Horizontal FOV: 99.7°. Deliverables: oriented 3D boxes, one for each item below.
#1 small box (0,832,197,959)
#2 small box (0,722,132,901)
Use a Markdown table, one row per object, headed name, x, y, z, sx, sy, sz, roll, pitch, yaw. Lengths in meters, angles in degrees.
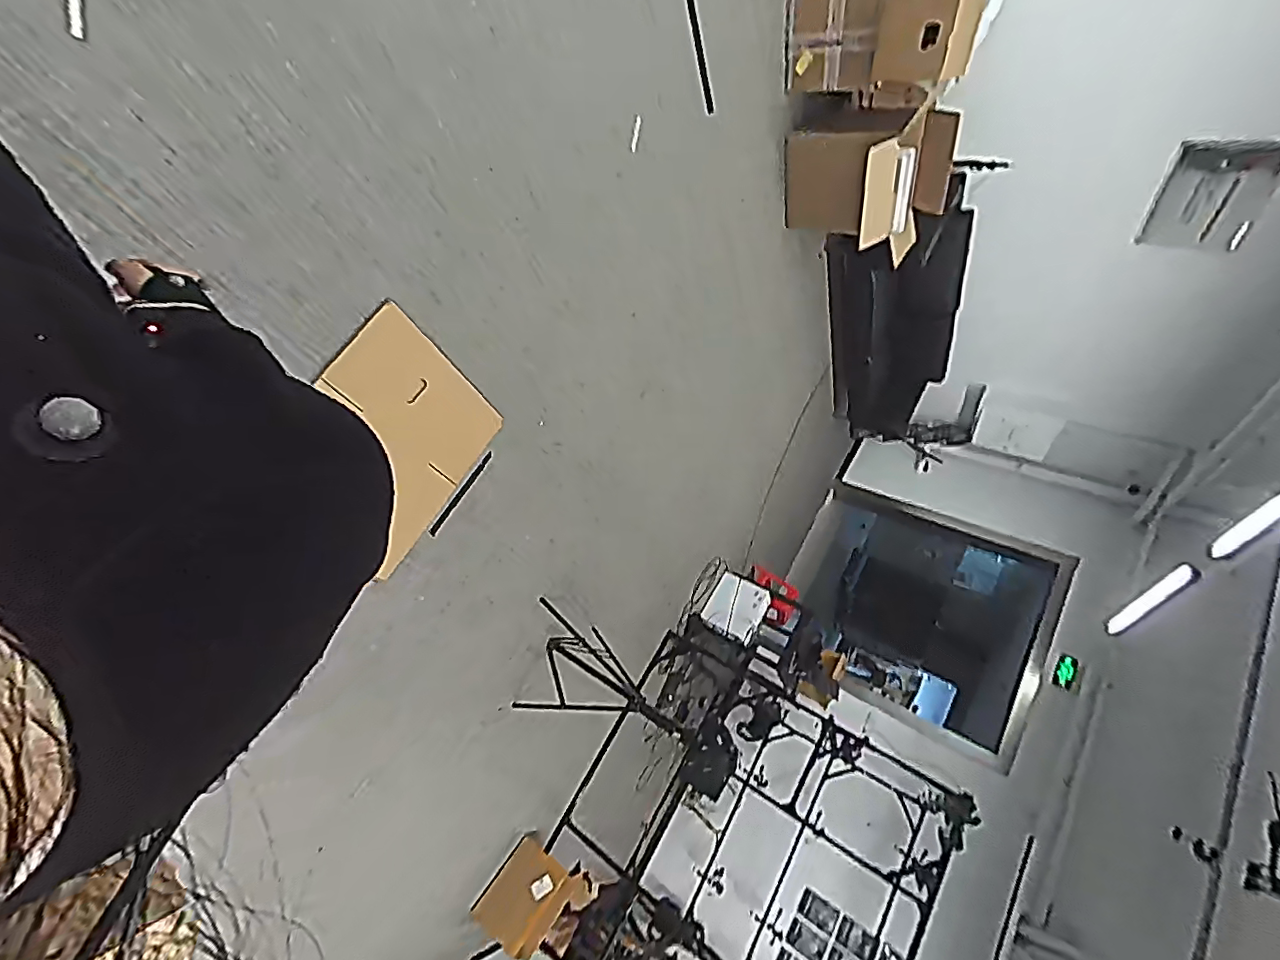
| name | x | y | z | sx | sy | sz | roll | pitch | yaw |
| --- | --- | --- | --- | --- | --- | --- | --- | --- | --- |
| small box | -0.769 | 0.664 | 0.771 | 0.179 | 0.176 | 0.168 | -12 | 118 | -54 |
| small box | -1.032 | 0.562 | 0.942 | 0.179 | 0.176 | 0.168 | -12 | 118 | -53 |
